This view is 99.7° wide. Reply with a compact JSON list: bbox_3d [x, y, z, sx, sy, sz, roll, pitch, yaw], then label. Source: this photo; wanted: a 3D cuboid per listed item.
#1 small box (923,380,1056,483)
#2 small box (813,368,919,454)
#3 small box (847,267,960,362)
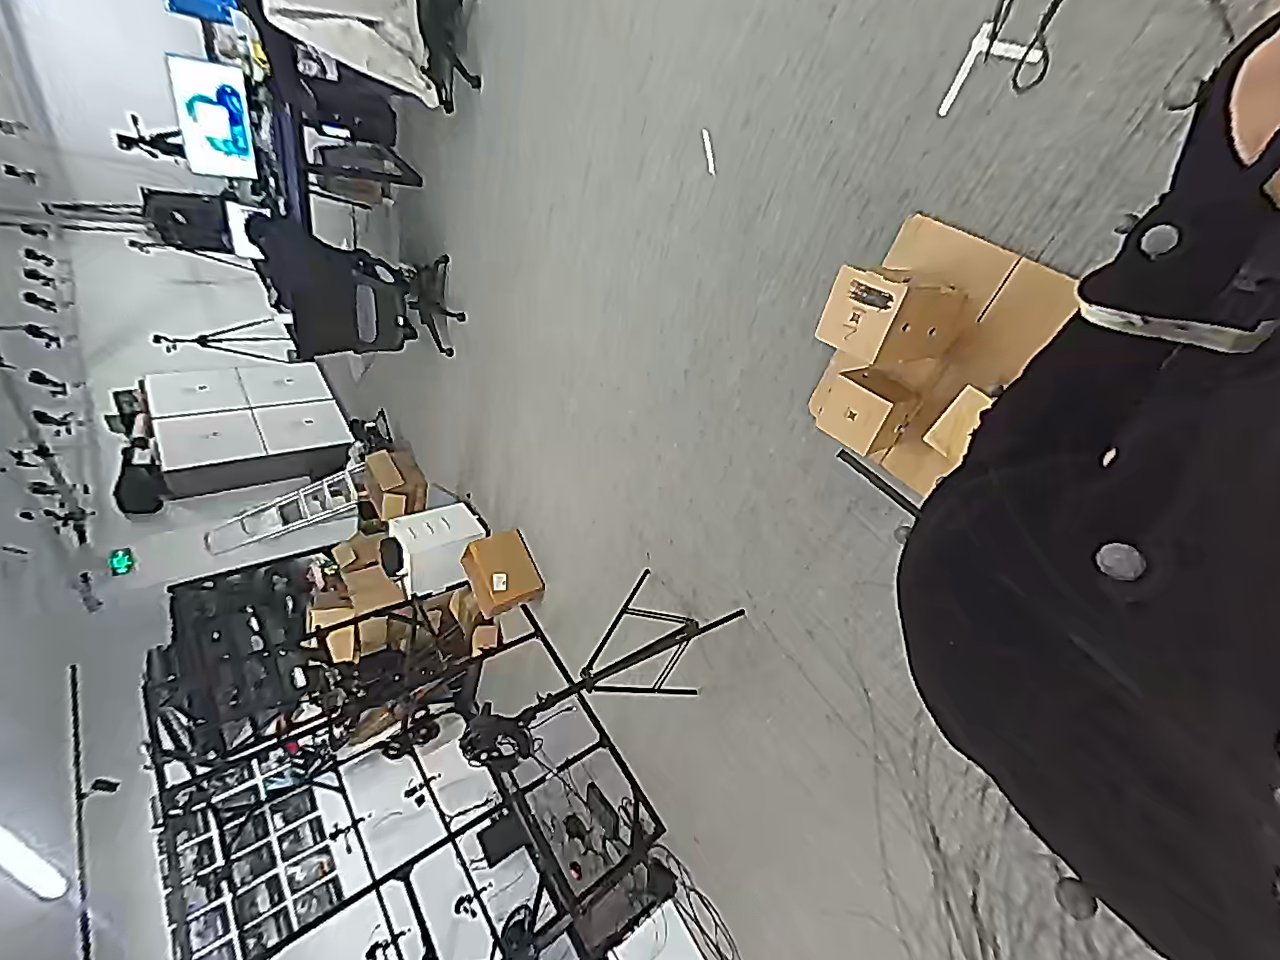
[{"bbox_3d":[0.815,-0.120,1.262,0.179,0.176,0.168,49,135,27],"label":"small box"},{"bbox_3d":[0.619,-0.197,1.483,0.179,0.176,0.168,42,134,34],"label":"small box"},{"bbox_3d":[0.662,-0.416,1.350,0.168,0.176,0.179,43,133,34],"label":"small box"}]
